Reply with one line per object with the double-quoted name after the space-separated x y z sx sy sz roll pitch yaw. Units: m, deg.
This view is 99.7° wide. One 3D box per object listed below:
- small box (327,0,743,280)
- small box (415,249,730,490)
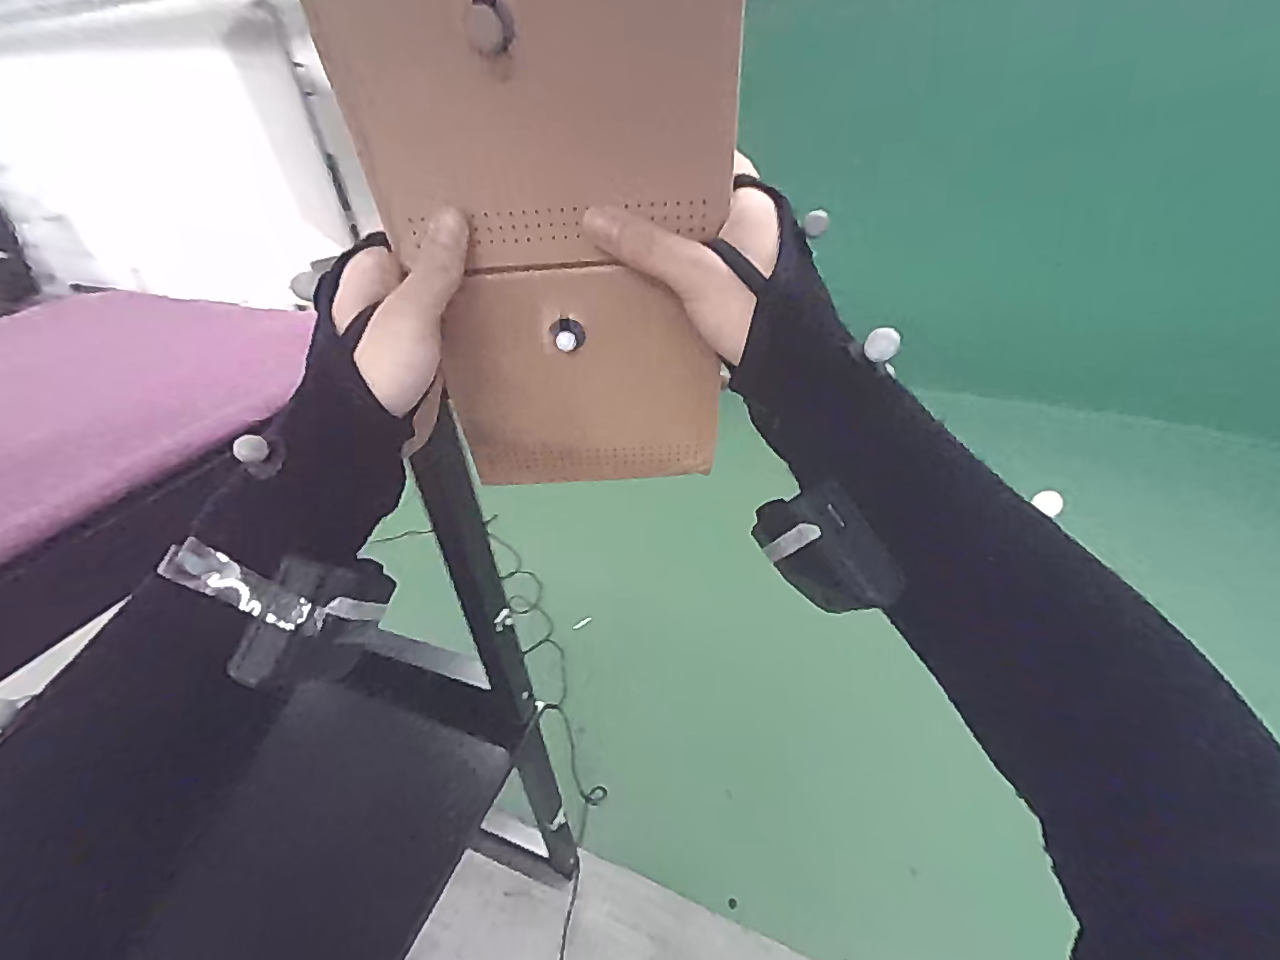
-0.042 -0.220 0.286 0.179 0.176 0.168 -3 46 2 "small box"
-0.032 -0.105 0.402 0.179 0.176 0.168 -2 45 2 "small box"
